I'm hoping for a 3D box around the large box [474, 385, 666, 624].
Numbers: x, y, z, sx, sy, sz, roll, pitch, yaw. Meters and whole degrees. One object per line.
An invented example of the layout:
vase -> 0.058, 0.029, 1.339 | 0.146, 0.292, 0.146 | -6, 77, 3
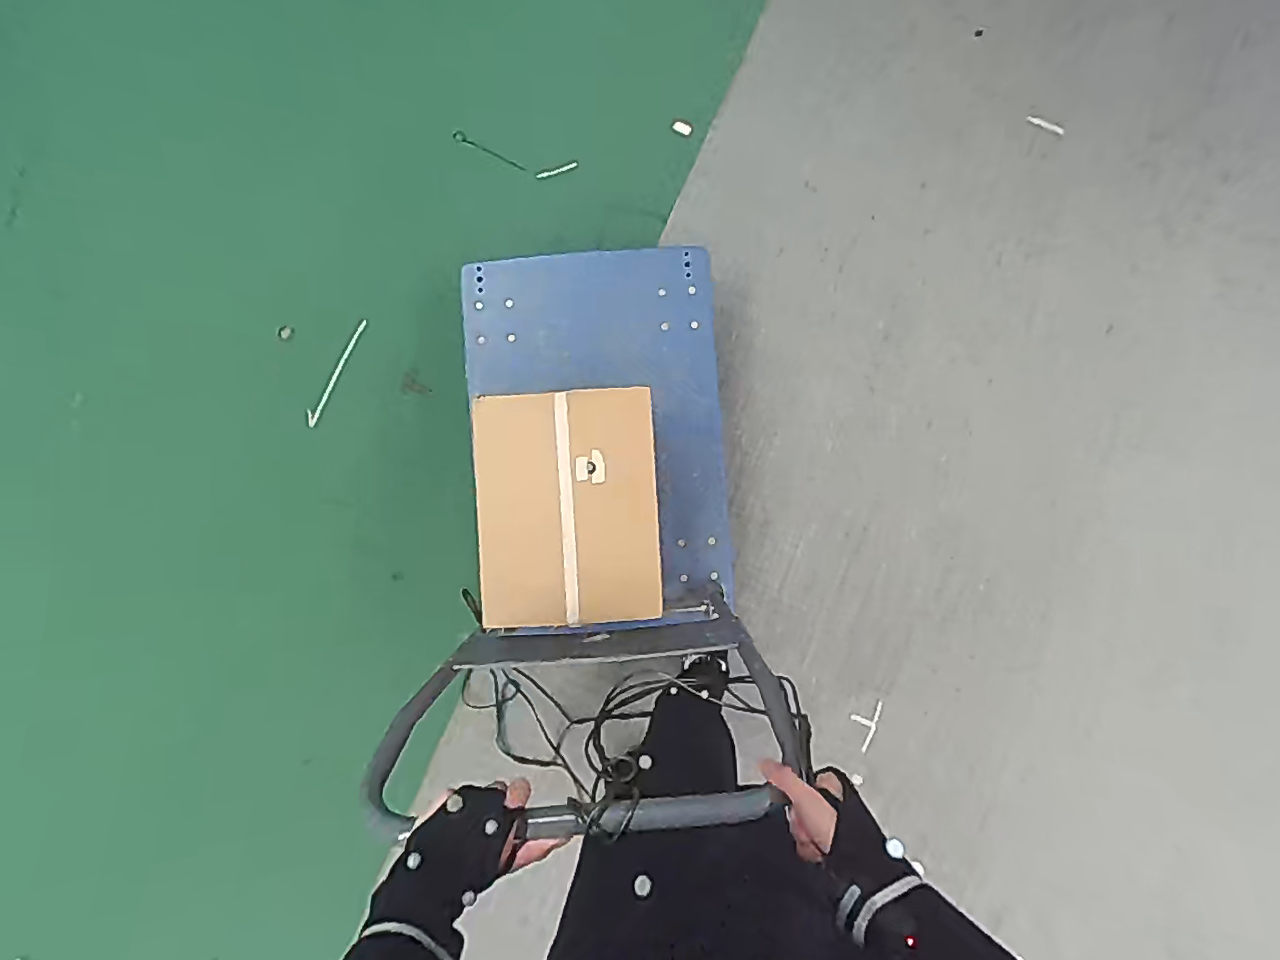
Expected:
large box -> -0.121, 0.048, 1.088 | 0.320, 0.320, 0.408 | -4, 88, 0
